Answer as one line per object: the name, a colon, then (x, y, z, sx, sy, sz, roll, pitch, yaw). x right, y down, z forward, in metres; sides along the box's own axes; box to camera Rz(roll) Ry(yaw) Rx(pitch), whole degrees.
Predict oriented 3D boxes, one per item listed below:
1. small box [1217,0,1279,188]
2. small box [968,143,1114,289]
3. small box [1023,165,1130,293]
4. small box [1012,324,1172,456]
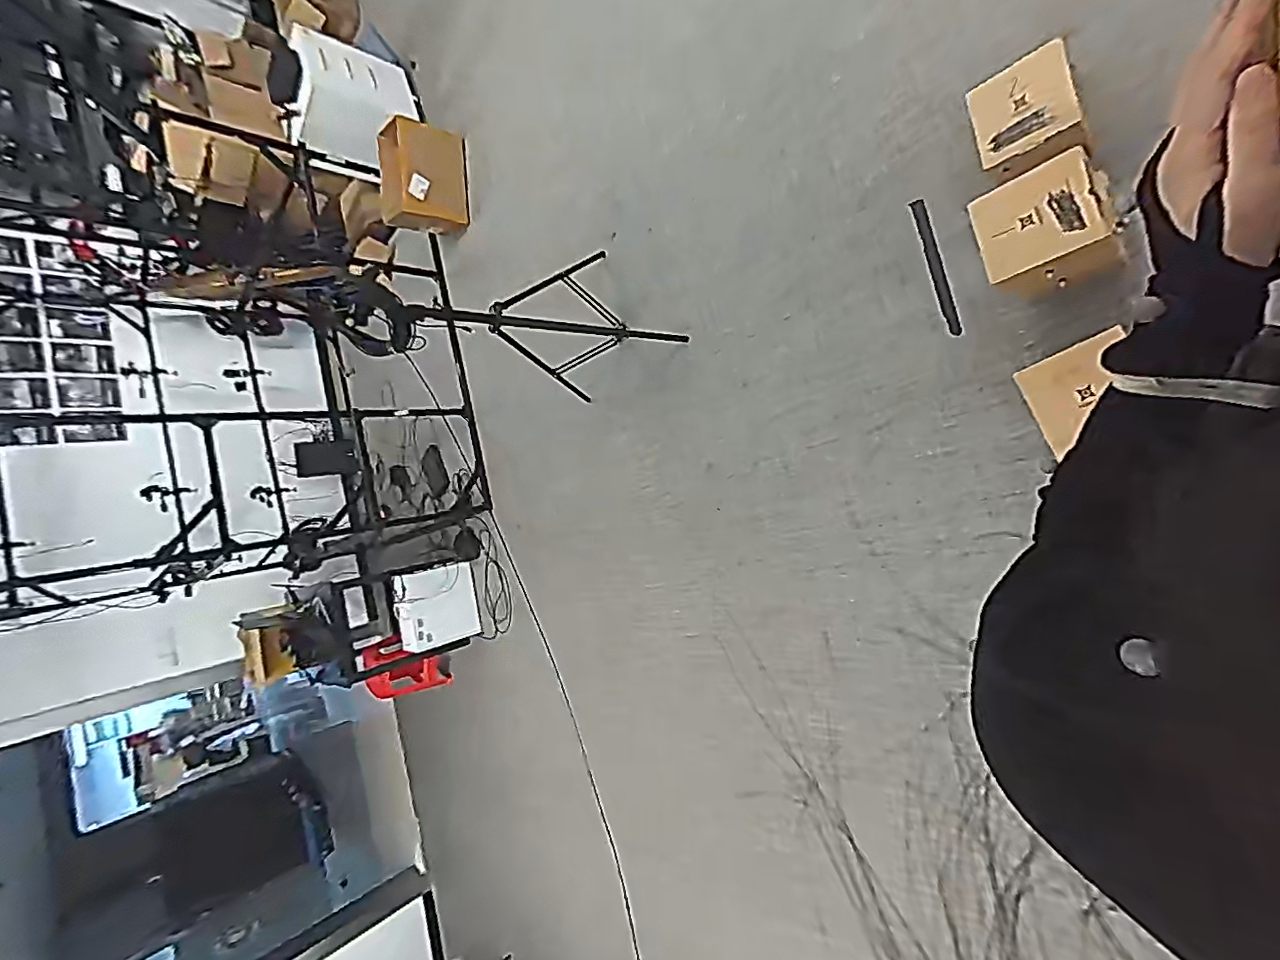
small box: (0.381, -0.253, 0.231, 0.168, 0.176, 0.179, -9, 92, 42)
small box: (0.746, -0.474, 1.001, 0.179, 0.176, 0.168, -18, 84, 47)
small box: (0.869, -0.499, 1.108, 0.179, 0.176, 0.168, -13, 89, 46)
small box: (0.822, -0.160, 0.982, 0.168, 0.176, 0.179, -31, 74, 43)
